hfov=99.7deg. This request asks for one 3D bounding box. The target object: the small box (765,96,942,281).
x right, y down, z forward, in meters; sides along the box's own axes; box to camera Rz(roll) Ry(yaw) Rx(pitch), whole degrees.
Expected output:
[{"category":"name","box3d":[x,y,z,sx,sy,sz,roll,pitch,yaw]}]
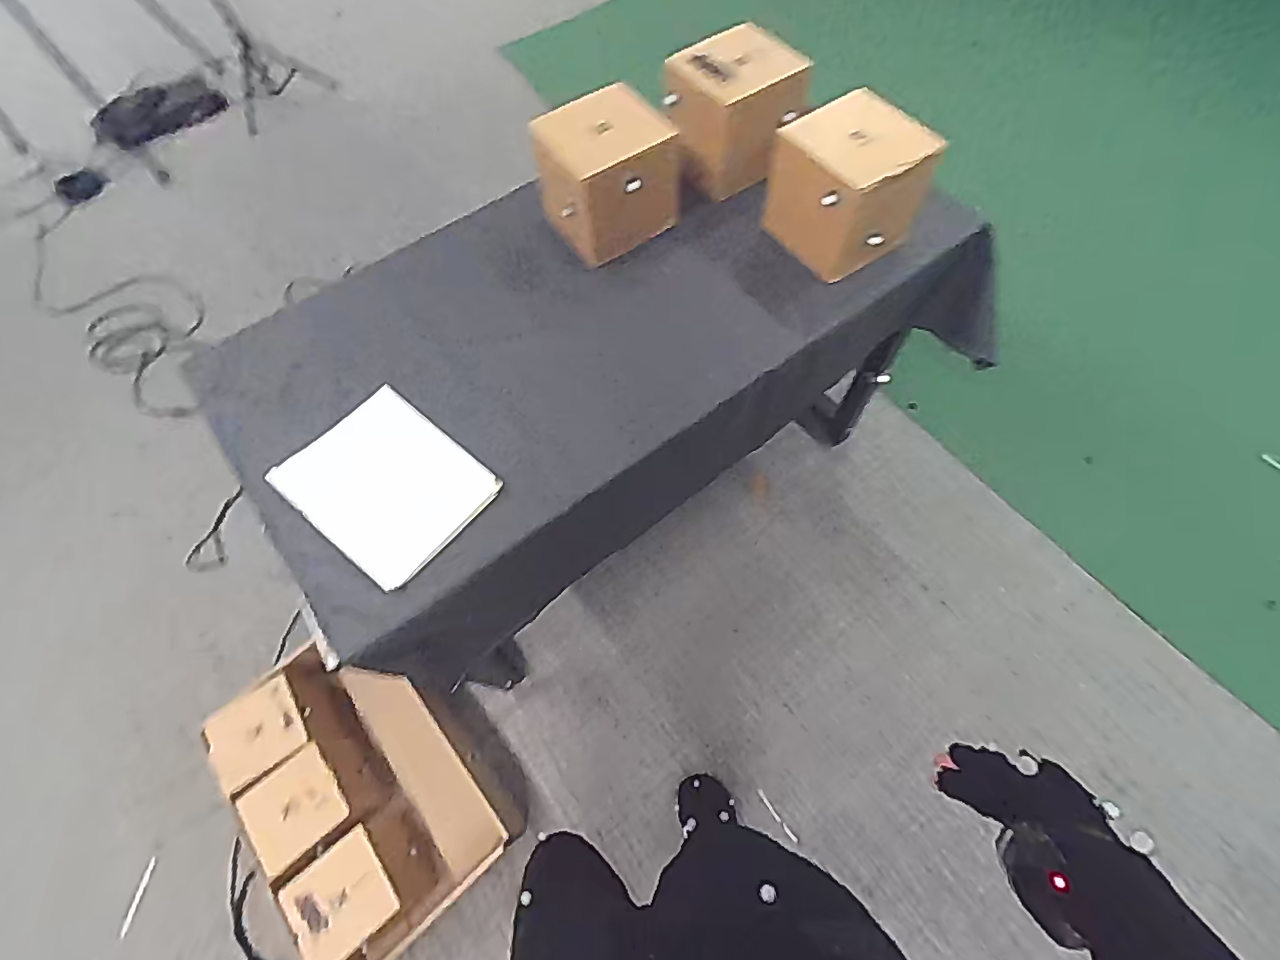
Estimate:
[{"category":"small box","box3d":[0.320,-0.455,0.857,0.168,0.176,0.179,-32,67,-12]}]
